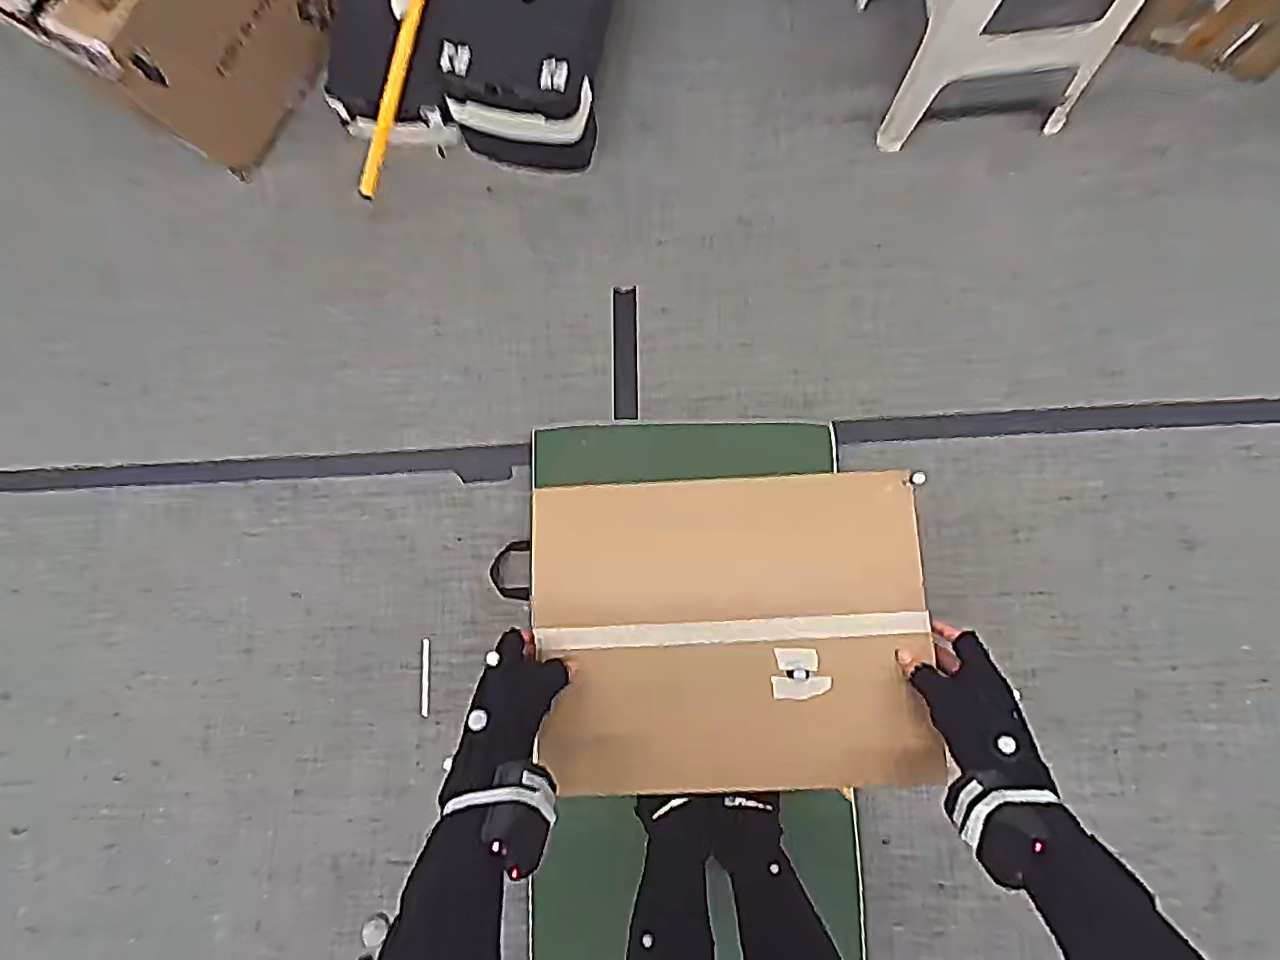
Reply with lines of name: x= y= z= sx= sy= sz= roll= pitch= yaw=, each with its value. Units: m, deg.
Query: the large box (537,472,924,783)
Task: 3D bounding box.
large box: x=0.093 y=0.177 z=0.734 sx=0.408 sy=0.320 sz=0.320 roll=-3 pitch=83 yaw=1
